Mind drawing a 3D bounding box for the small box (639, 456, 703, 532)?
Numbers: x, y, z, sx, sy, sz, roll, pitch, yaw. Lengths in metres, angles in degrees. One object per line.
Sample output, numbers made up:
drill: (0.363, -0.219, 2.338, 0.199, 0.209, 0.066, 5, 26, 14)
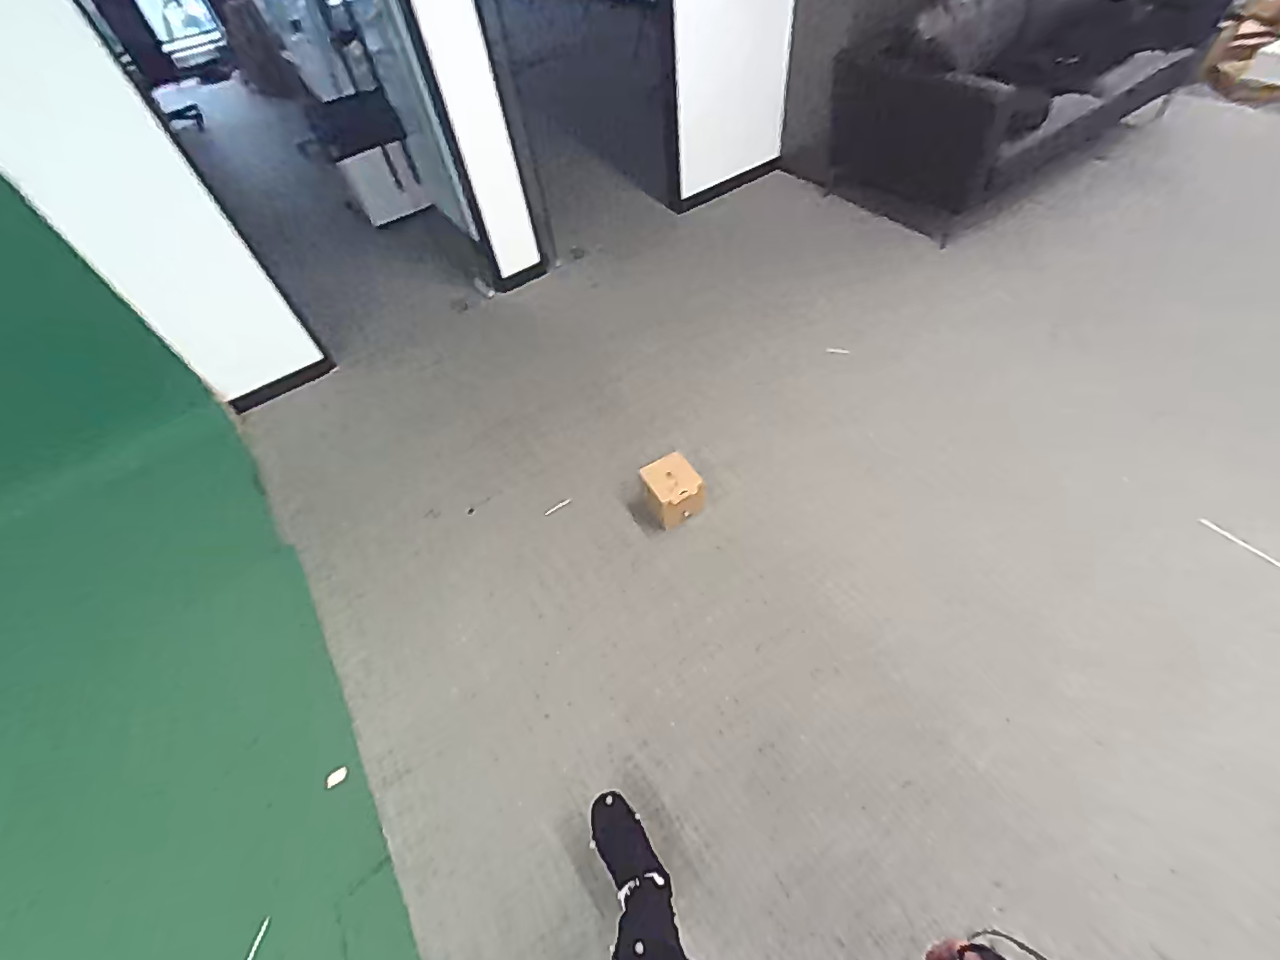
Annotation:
small box: (0.110, 0.051, 1.900, 0.168, 0.176, 0.179, -23, 54, -8)
